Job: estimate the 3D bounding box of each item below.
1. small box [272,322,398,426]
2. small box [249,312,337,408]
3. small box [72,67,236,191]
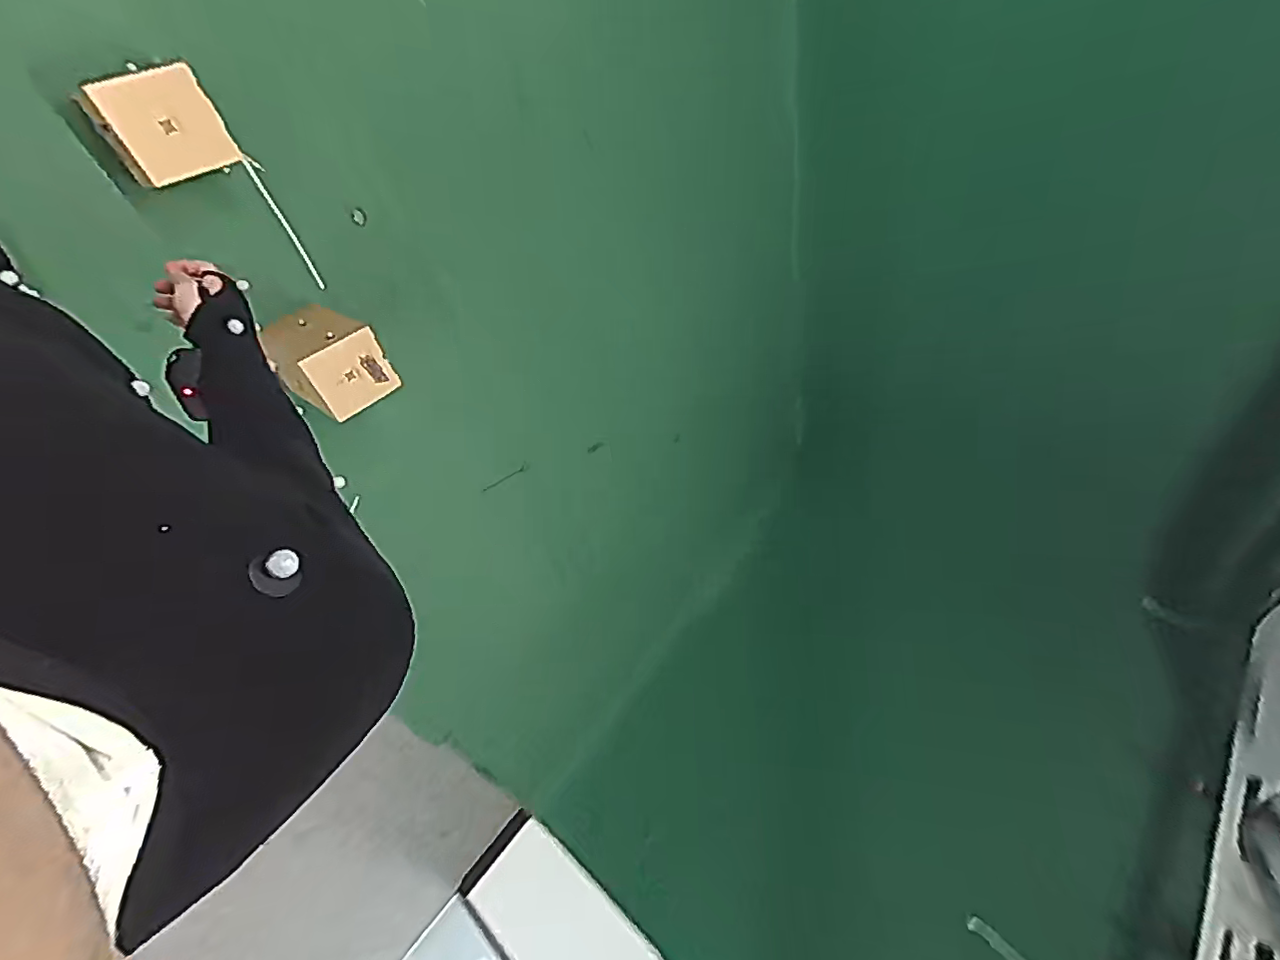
[{"bbox_3d":[-0.731,-0.262,1.298,0.179,0.176,0.168,-43,138,-28],"label":"small box"},{"bbox_3d":[-0.854,-0.316,1.393,0.179,0.176,0.168,-43,138,-29],"label":"small box"},{"bbox_3d":[-0.958,-0.684,1.067,0.179,0.176,0.168,-45,138,-29],"label":"small box"}]
